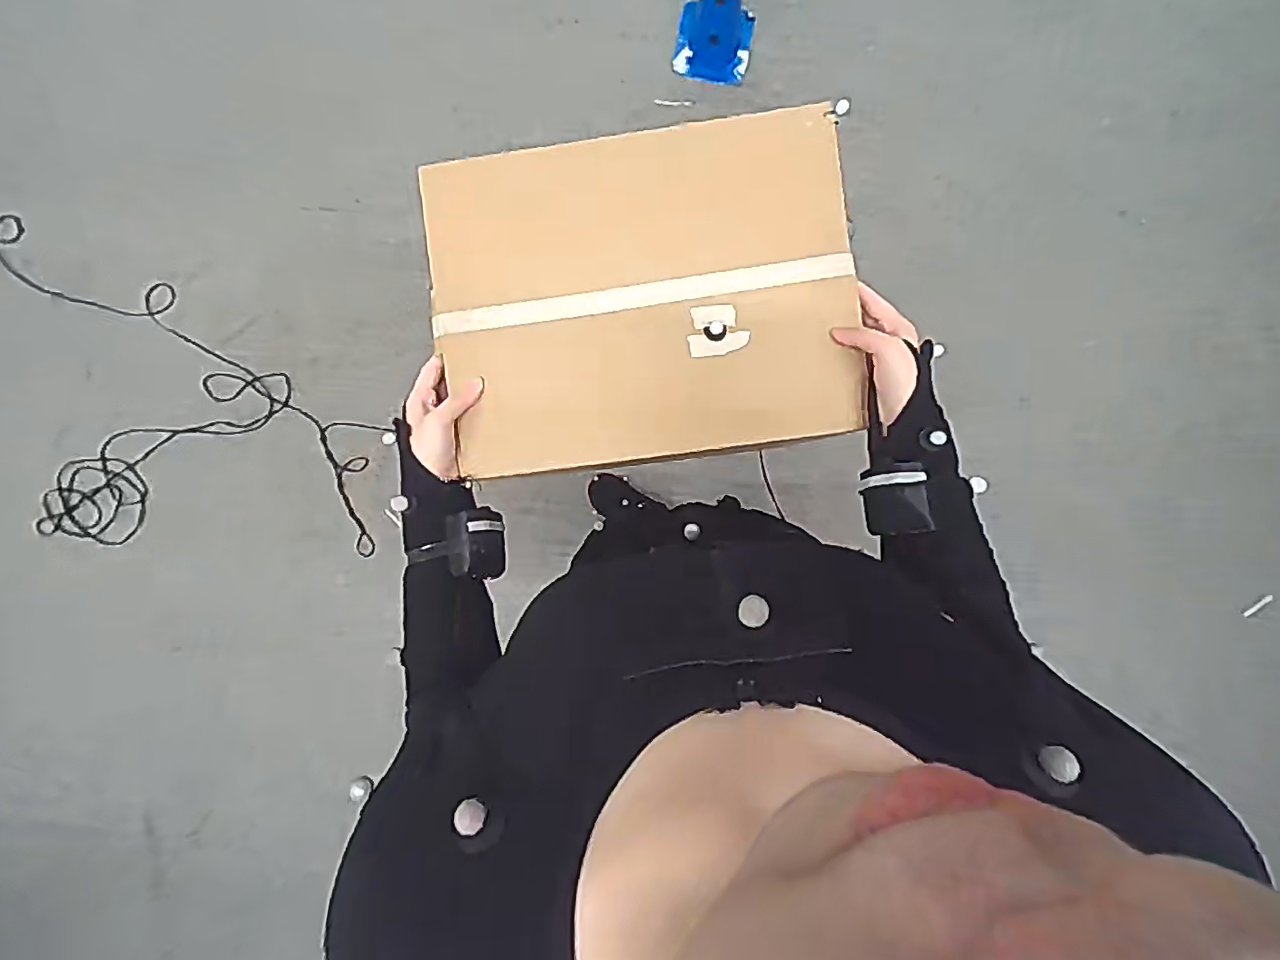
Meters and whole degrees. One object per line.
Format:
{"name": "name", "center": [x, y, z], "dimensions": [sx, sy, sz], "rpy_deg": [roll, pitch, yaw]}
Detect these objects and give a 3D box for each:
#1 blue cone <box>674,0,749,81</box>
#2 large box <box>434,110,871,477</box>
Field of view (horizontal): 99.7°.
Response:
{"name": "blue cone", "center": [0.195, -1.196, 1.320], "dimensions": [0.193, 0.380, 0.192], "rpy_deg": [12, 90, 0]}
{"name": "large box", "center": [0.013, -0.182, 0.678], "dimensions": [0.408, 0.320, 0.320], "rpy_deg": [-7, 91, 2]}
